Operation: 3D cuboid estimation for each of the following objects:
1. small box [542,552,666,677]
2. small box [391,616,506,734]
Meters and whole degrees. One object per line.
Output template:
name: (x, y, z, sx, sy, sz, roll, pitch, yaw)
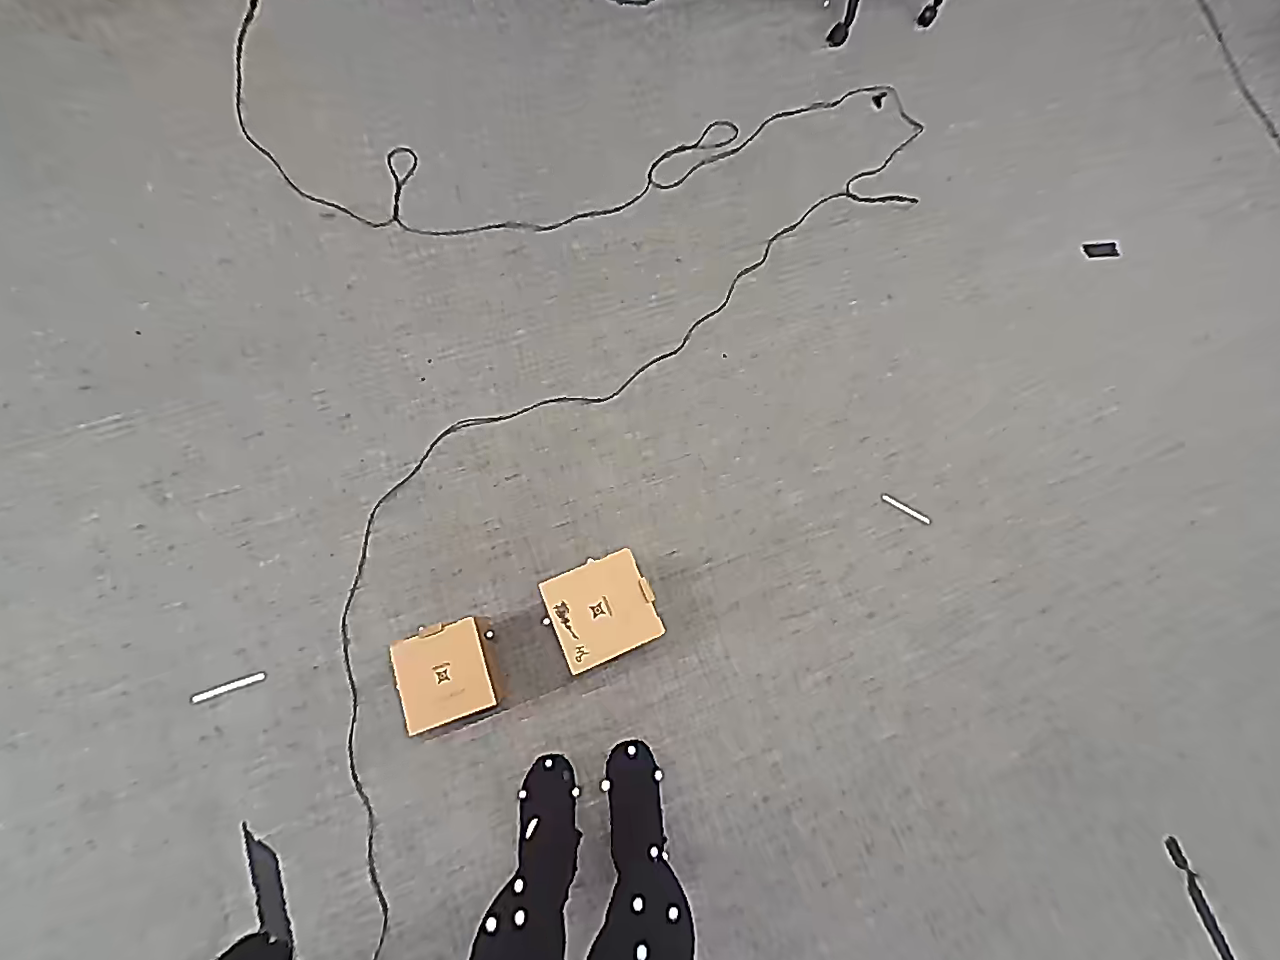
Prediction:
small box: (-0.073, 0.247, 1.006, 0.179, 0.176, 0.168, -20, 78, -12)
small box: (-0.384, 0.389, 1.106, 0.168, 0.176, 0.179, -17, 79, -10)
